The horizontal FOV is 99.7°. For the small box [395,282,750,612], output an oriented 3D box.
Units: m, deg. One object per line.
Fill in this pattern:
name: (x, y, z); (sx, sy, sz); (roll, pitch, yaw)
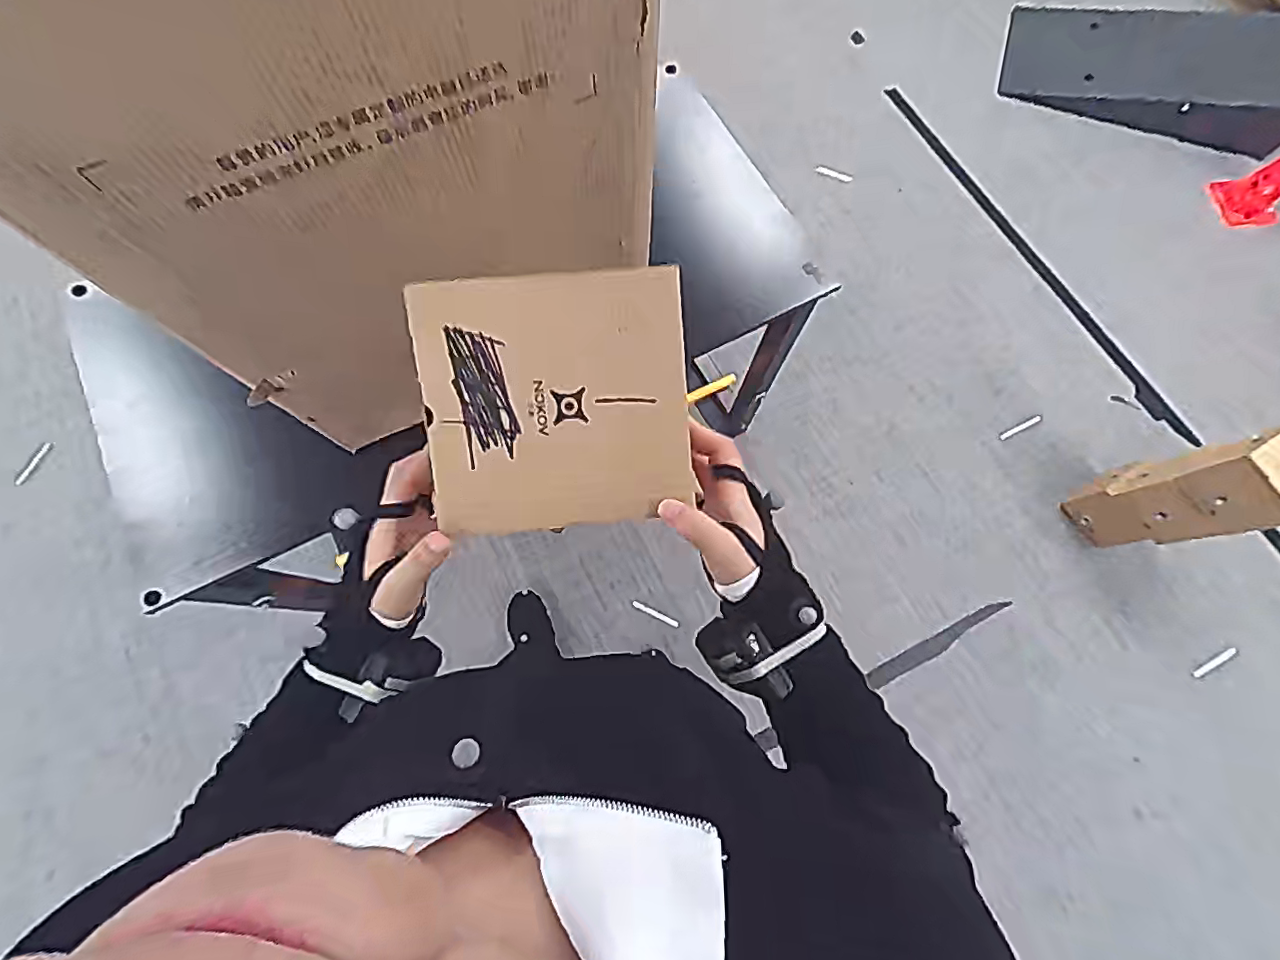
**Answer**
small box: (-0.035, -0.026, 0.360); (0.179, 0.176, 0.168); (-5, 99, -3)

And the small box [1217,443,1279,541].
small box: (1.404, 0.009, 1.136); (0.179, 0.176, 0.168); (-29, 76, -9)

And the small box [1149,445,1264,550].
small box: (1.393, 0.050, 1.297); (0.179, 0.176, 0.168); (-34, 77, -10)

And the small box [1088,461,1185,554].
small box: (1.382, 0.079, 1.459); (0.179, 0.176, 0.168); (-33, 77, -9)
